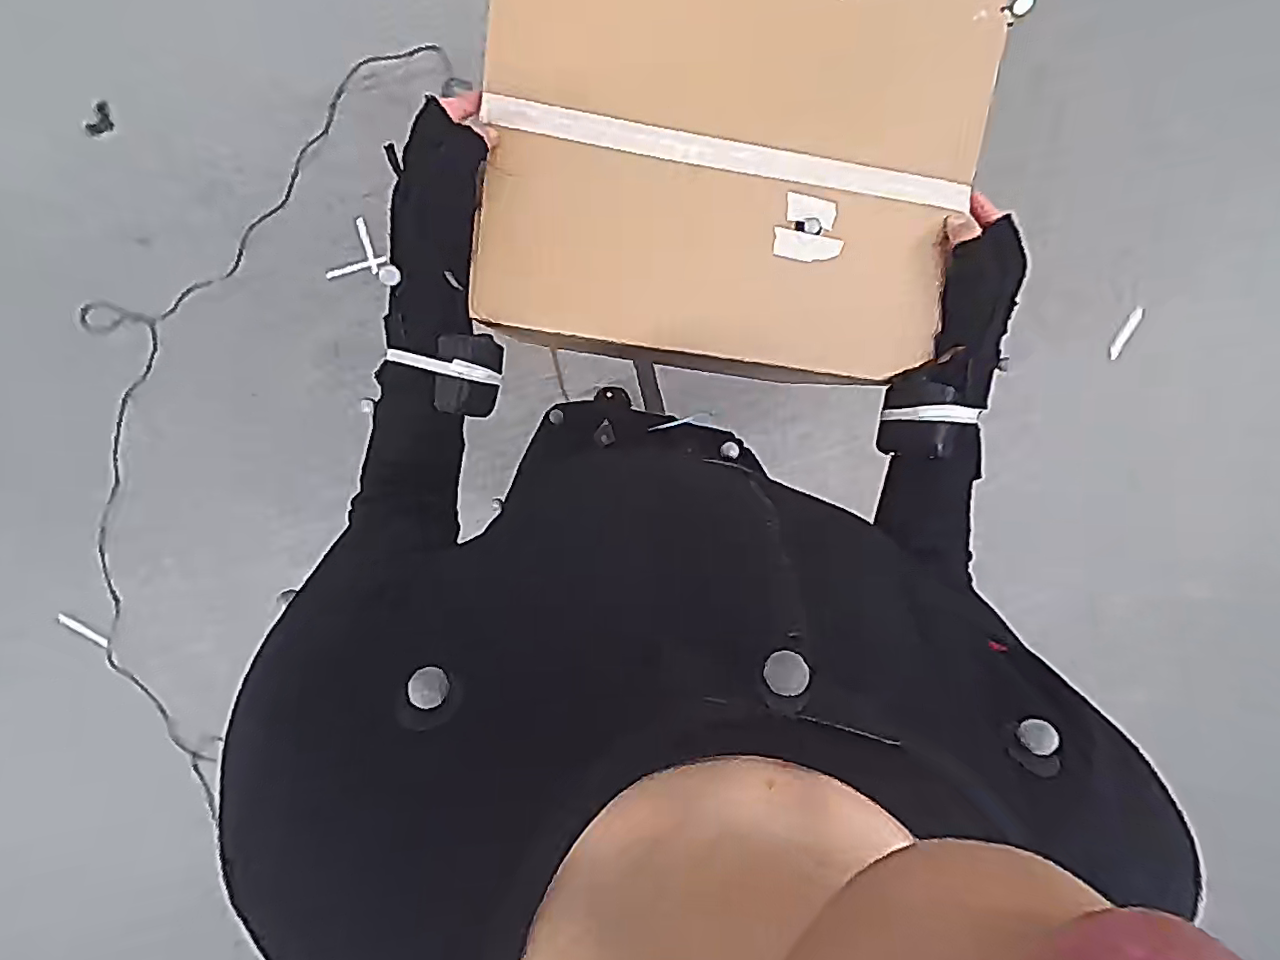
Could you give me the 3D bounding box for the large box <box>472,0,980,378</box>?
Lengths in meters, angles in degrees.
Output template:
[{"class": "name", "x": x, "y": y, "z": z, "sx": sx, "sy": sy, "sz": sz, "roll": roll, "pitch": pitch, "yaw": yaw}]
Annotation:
[{"class": "large box", "x": 0.052, "y": -0.289, "z": 0.592, "sx": 0.408, "sy": 0.320, "sz": 0.320, "roll": 6, "pitch": 102, "yaw": -8}]
